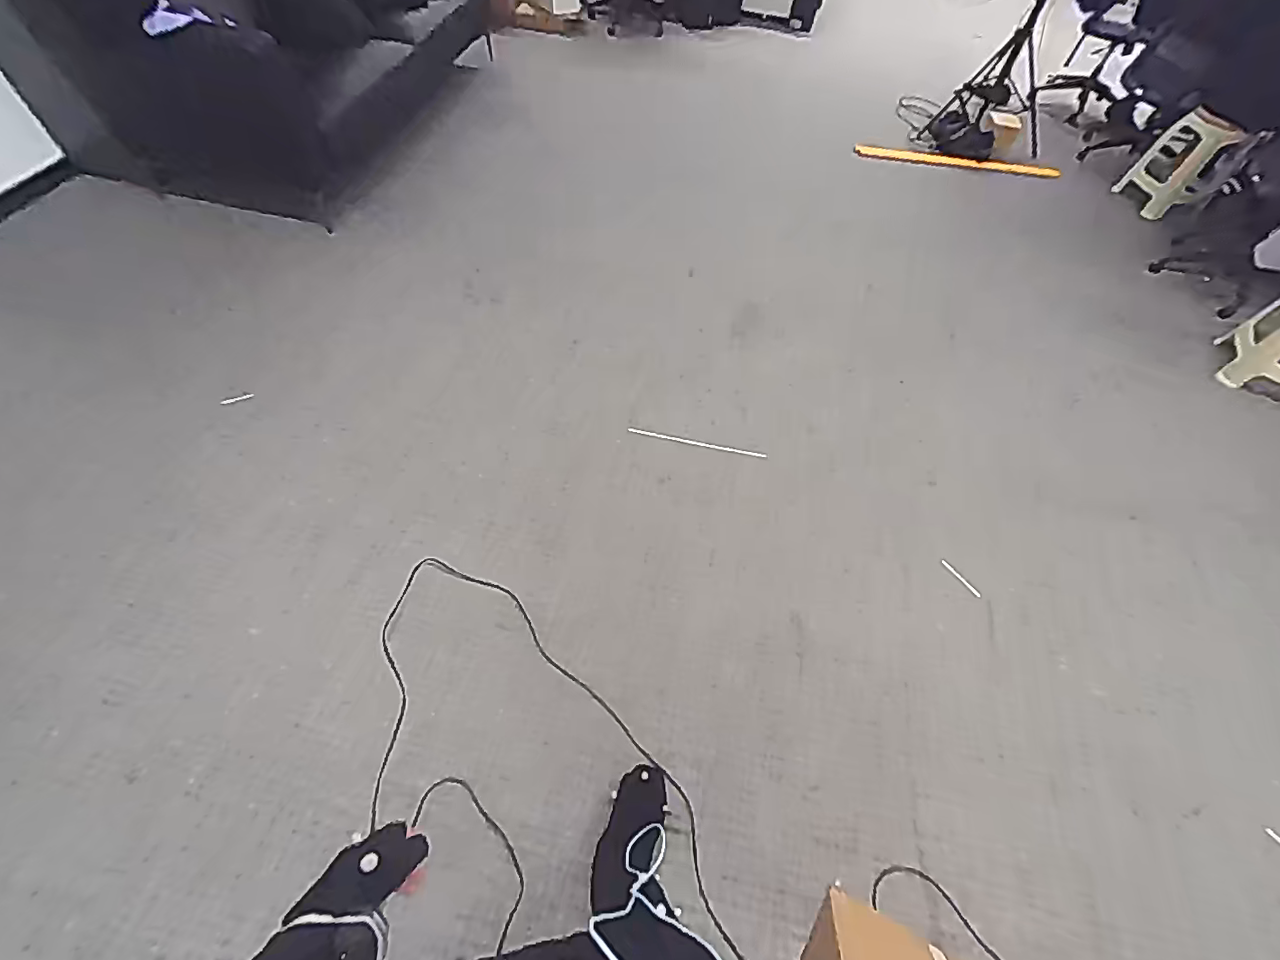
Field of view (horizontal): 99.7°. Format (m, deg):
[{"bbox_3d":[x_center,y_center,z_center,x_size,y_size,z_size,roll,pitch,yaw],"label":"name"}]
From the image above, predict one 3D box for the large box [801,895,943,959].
[{"bbox_3d":[0.319,0.810,0.606,0.320,0.408,0.320,25,87,17],"label":"large box"}]
